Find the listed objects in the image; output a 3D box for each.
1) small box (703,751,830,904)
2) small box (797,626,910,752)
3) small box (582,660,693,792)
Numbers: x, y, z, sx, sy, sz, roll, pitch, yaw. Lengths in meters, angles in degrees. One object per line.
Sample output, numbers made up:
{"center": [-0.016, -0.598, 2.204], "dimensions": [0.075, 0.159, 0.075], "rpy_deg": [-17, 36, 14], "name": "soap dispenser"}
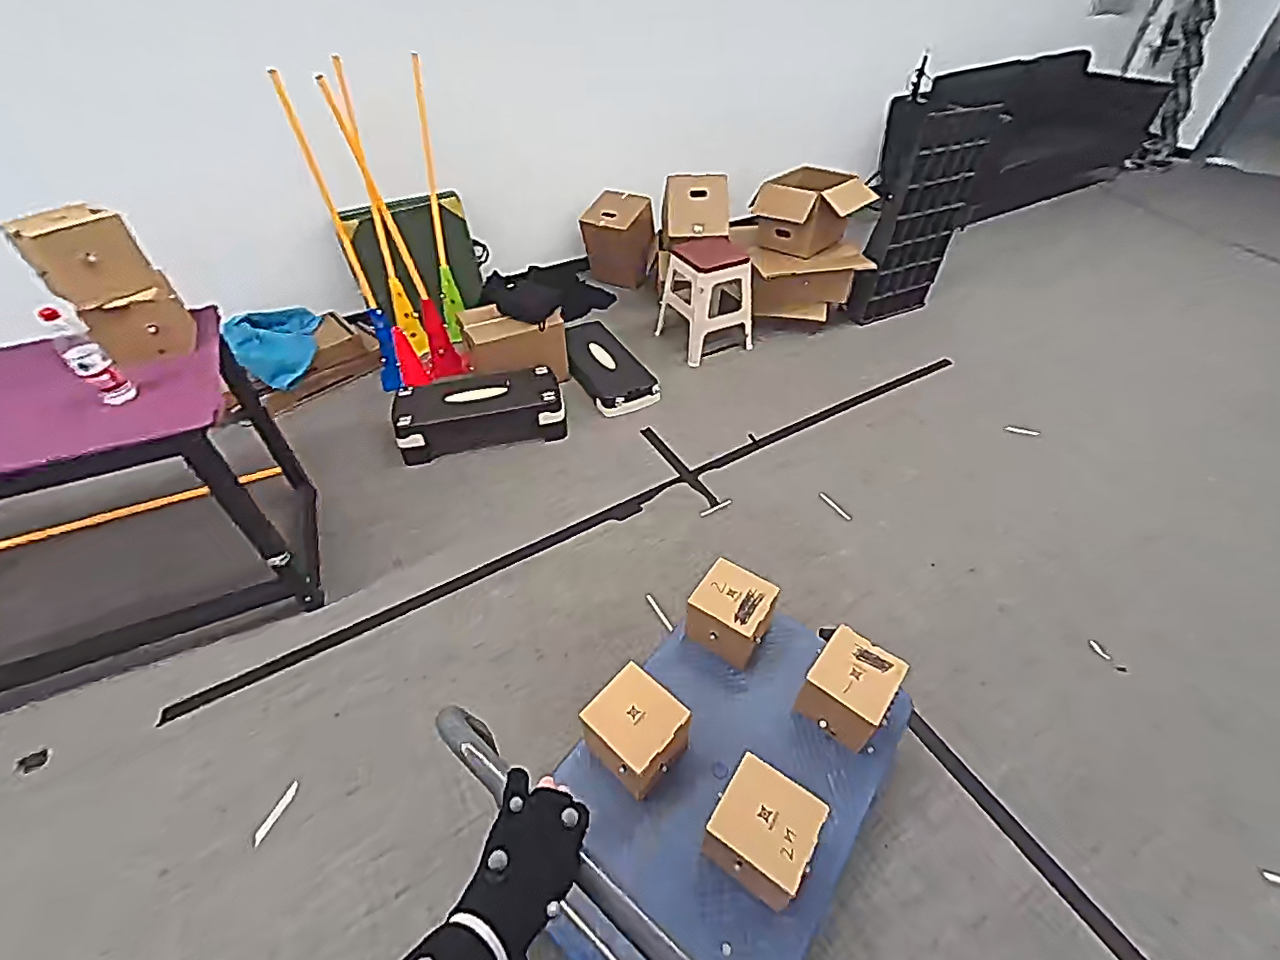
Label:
{"center": [0.236, 0.674, 1.045], "dimensions": [0.179, 0.176, 0.168], "rpy_deg": [27, 51, 25], "name": "small box"}
{"center": [0.481, 0.479, 1.240], "dimensions": [0.168, 0.176, 0.179], "rpy_deg": [31, 54, 28], "name": "small box"}
{"center": [-0.008, 0.541, 1.183], "dimensions": [0.179, 0.176, 0.168], "rpy_deg": [34, 54, 28], "name": "small box"}
